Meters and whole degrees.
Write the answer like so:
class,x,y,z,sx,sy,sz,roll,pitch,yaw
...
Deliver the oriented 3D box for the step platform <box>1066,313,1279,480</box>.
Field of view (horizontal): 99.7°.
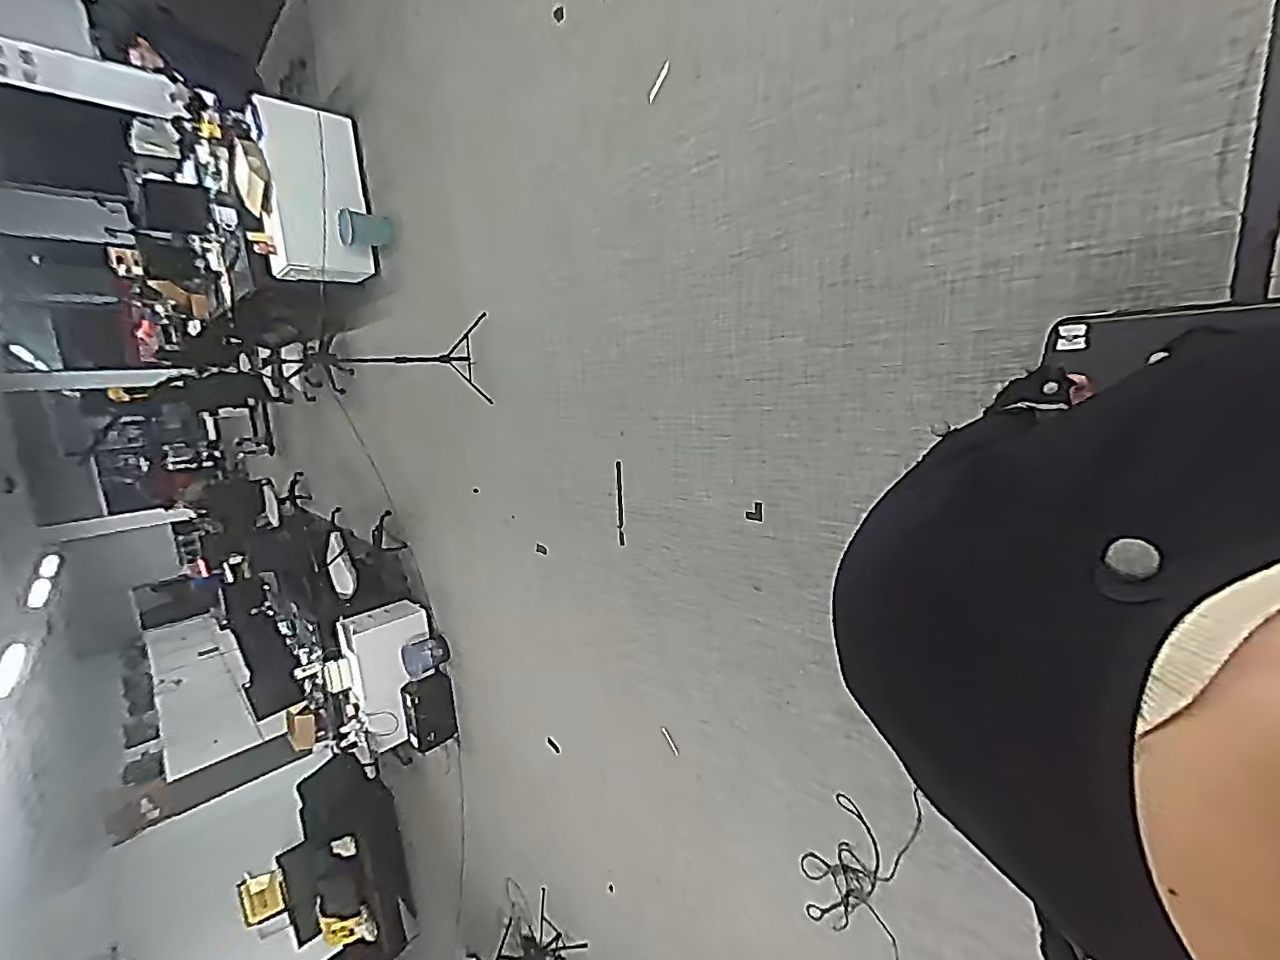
class,x,y,z,sx,sy,sz,roll,pitch,yaw
step platform,1.174,-0.144,0.937,0.684,0.204,0.286,13,108,43
